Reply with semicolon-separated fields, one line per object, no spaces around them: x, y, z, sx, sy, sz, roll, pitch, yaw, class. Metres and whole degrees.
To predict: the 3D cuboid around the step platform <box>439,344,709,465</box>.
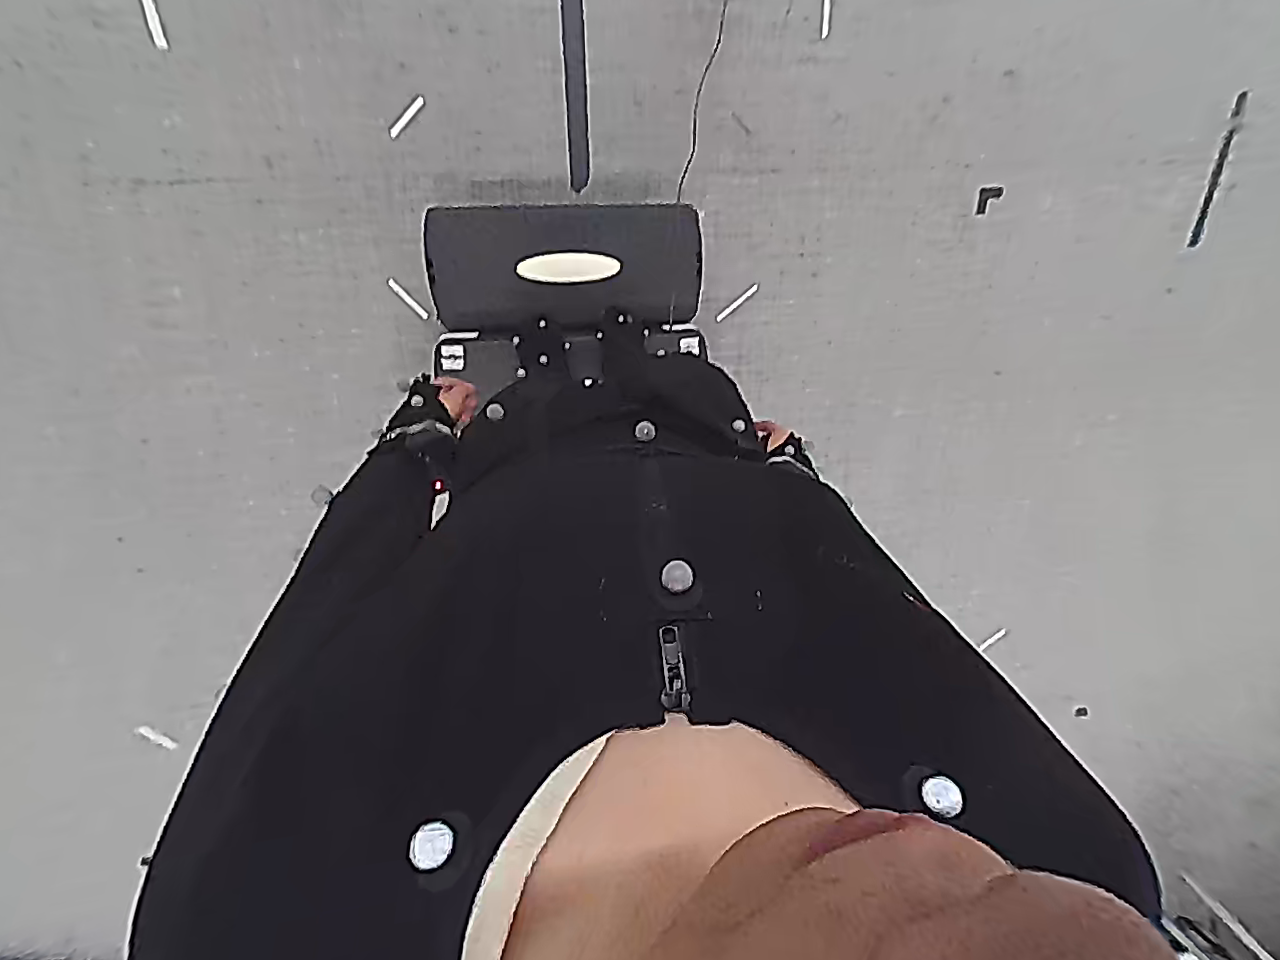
-0.163;-0.195;1.414;0.684;0.204;0.286;0;108;-8;step platform
